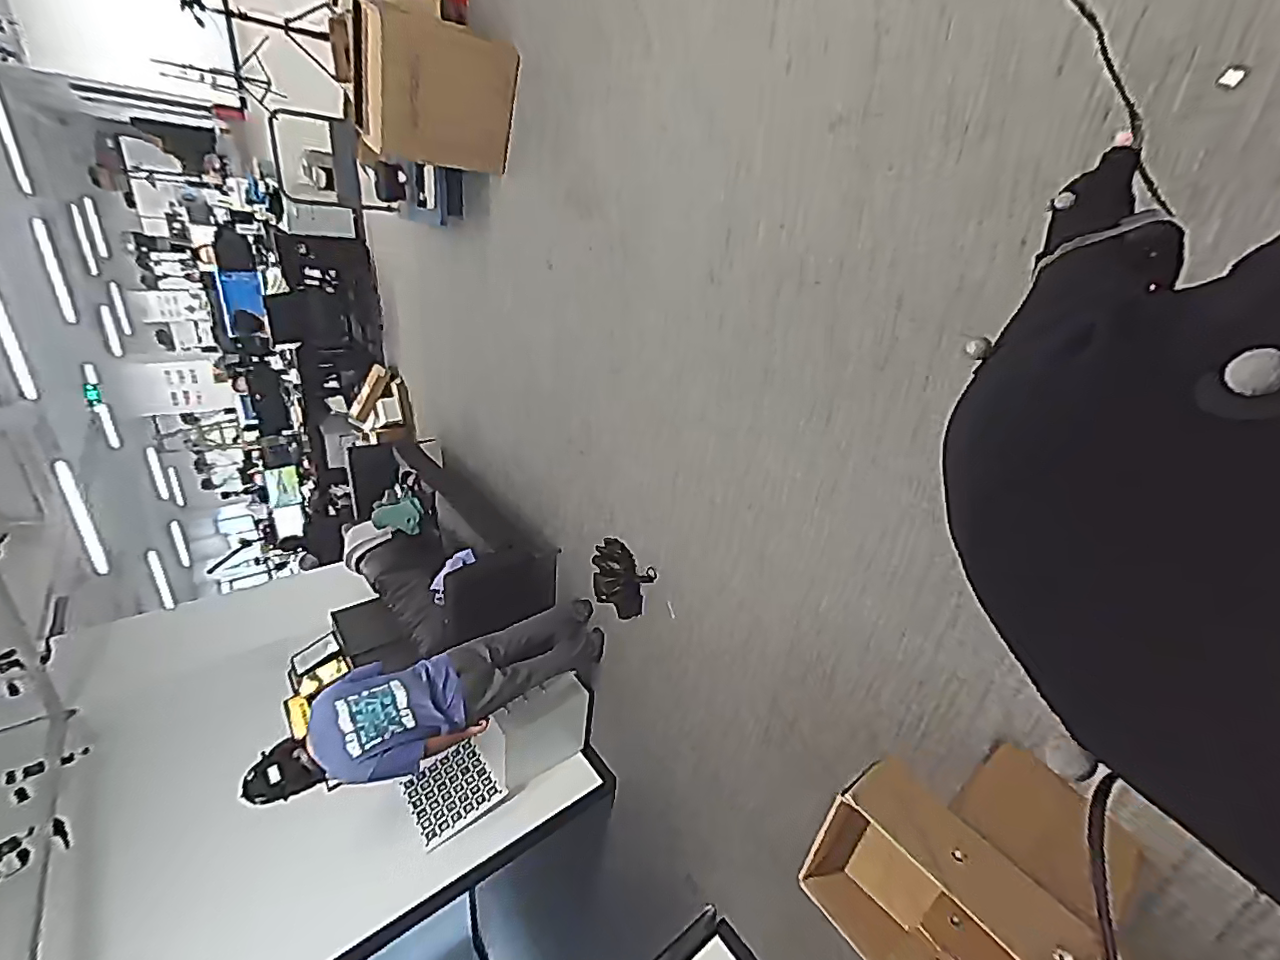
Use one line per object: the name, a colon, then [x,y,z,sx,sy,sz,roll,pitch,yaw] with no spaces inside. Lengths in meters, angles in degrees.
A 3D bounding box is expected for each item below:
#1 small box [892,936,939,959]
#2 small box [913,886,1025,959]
small box: [0.544,1.057,1.056,0.168,0.176,0.179,37,128,43]
small box: [0.677,1.019,1.144,0.168,0.176,0.179,36,131,44]
